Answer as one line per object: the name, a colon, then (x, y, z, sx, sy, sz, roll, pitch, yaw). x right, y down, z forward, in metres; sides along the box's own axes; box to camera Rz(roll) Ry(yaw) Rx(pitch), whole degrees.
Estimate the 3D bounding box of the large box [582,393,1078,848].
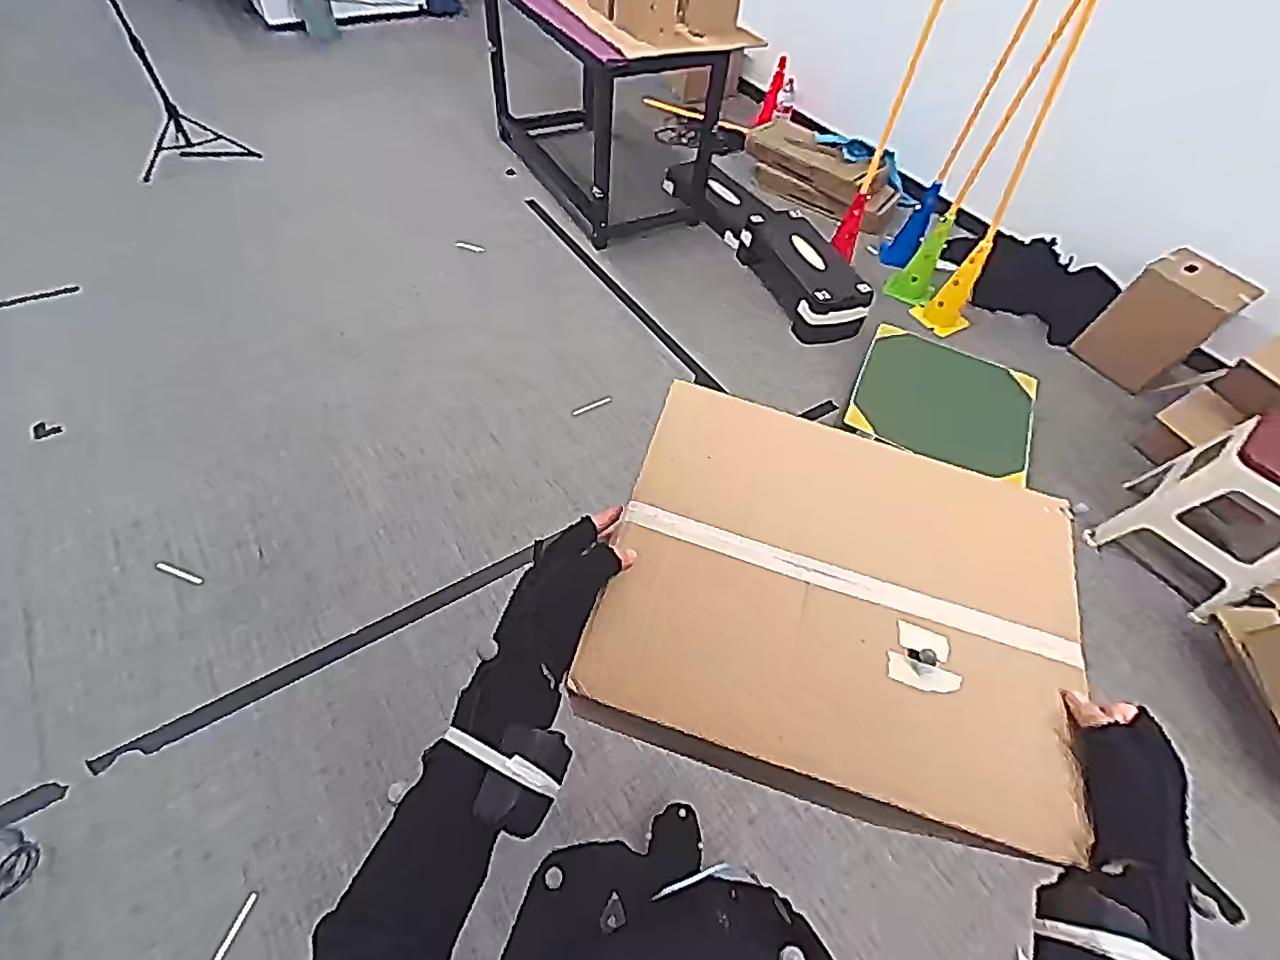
large box: (0.170, 0.159, 0.616, 0.408, 0.320, 0.320, 18, 64, 3)
